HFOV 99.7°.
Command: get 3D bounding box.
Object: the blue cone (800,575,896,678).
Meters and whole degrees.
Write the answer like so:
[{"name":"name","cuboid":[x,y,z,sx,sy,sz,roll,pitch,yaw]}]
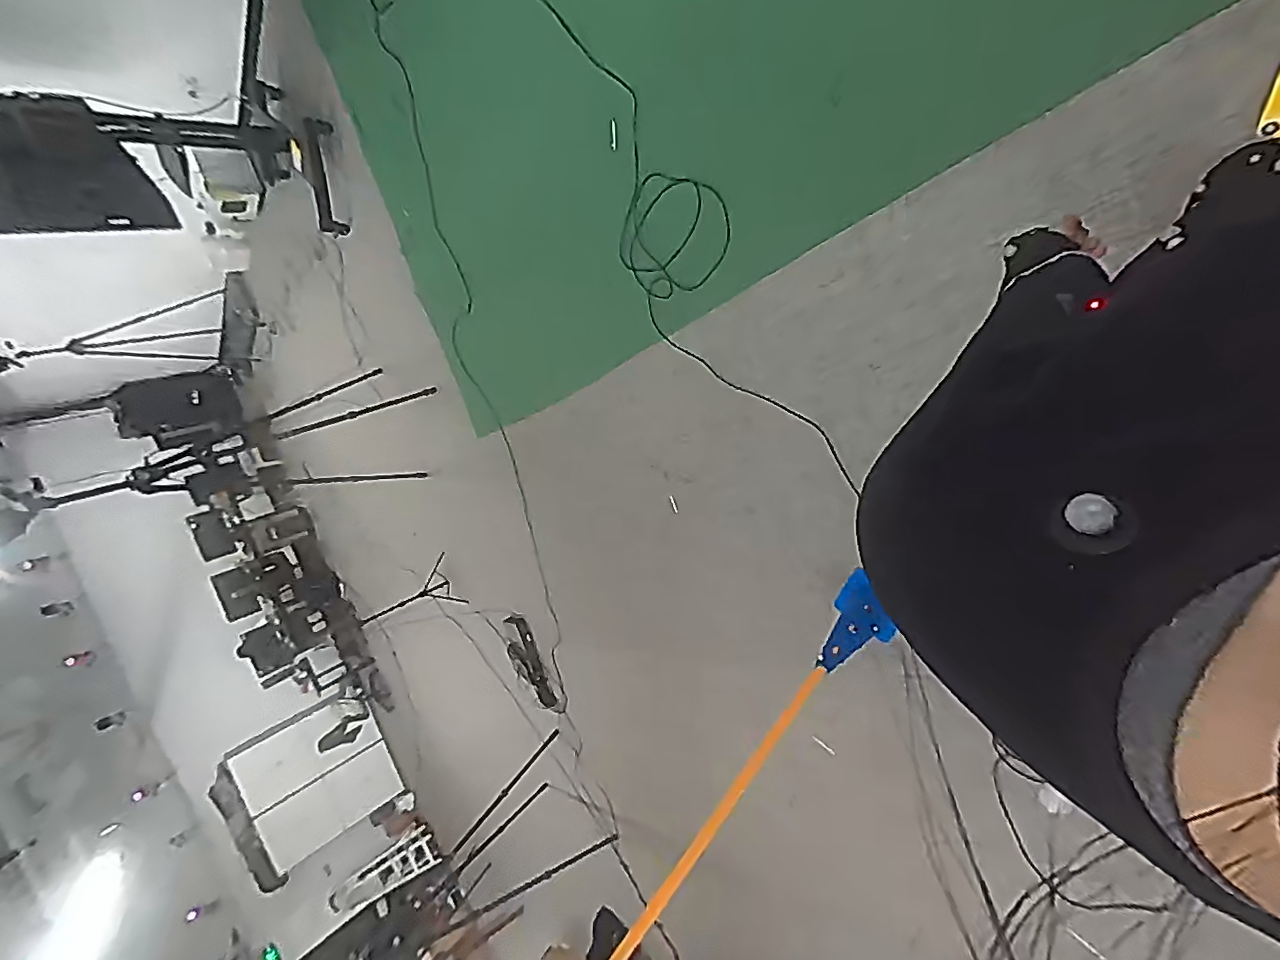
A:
[{"name":"blue cone","cuboid":[0.594,0.472,1.618,0.192,0.380,0.193,35,133,28]}]
